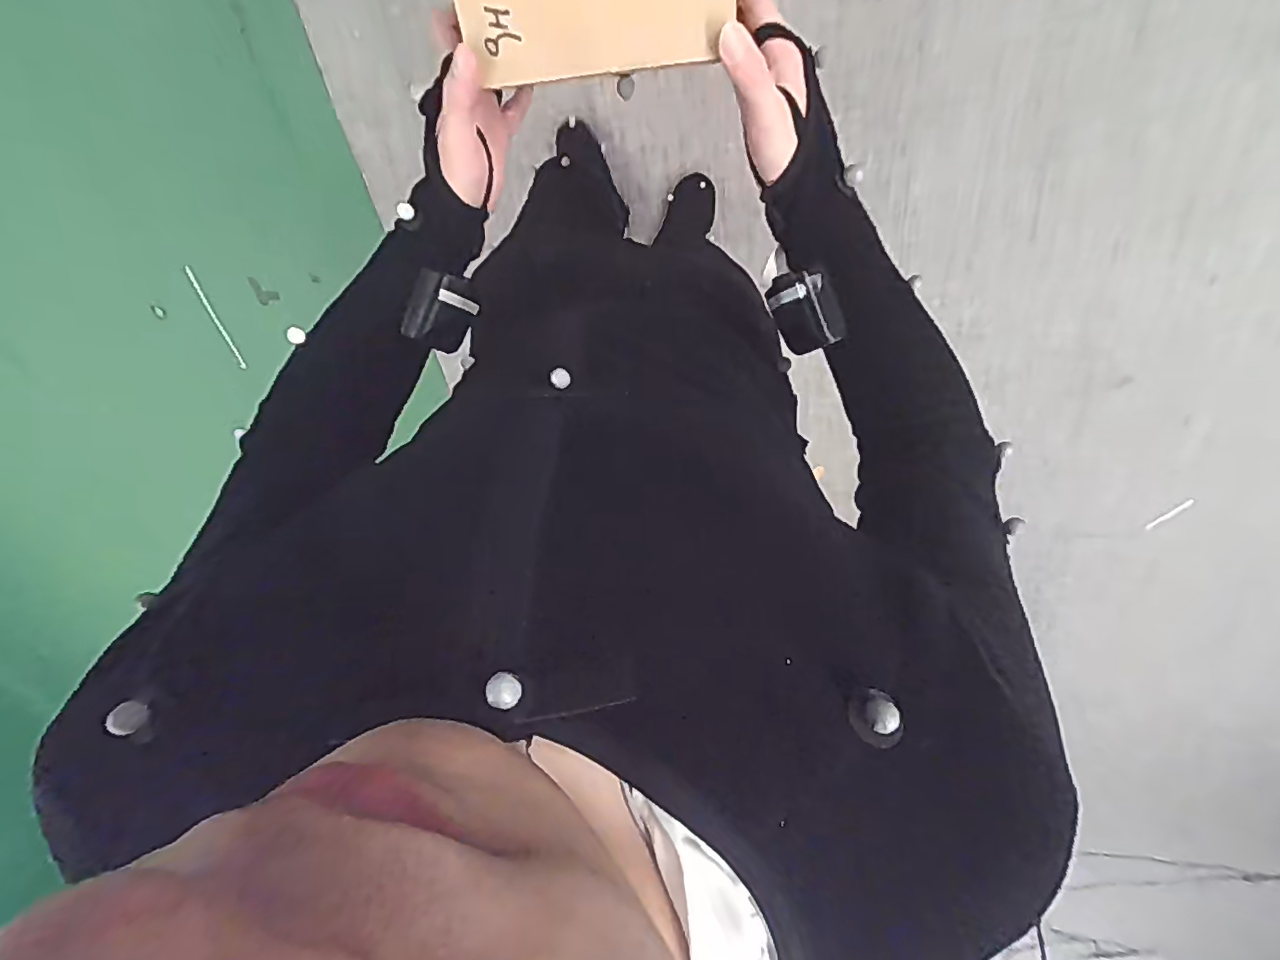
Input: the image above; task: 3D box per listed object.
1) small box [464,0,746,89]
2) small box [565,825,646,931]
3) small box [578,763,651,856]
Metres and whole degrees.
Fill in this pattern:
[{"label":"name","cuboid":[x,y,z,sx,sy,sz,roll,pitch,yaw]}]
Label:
[{"label":"small box","cuboid":[-0.021,-0.377,0.368,0.179,0.176,0.168,-1,126,7]},{"label":"small box","cuboid":[-0.077,0.996,1.358,0.179,0.176,0.168,0,124,7]},{"label":"small box","cuboid":[-0.062,0.906,1.494,0.179,0.176,0.168,1,124,7]}]
